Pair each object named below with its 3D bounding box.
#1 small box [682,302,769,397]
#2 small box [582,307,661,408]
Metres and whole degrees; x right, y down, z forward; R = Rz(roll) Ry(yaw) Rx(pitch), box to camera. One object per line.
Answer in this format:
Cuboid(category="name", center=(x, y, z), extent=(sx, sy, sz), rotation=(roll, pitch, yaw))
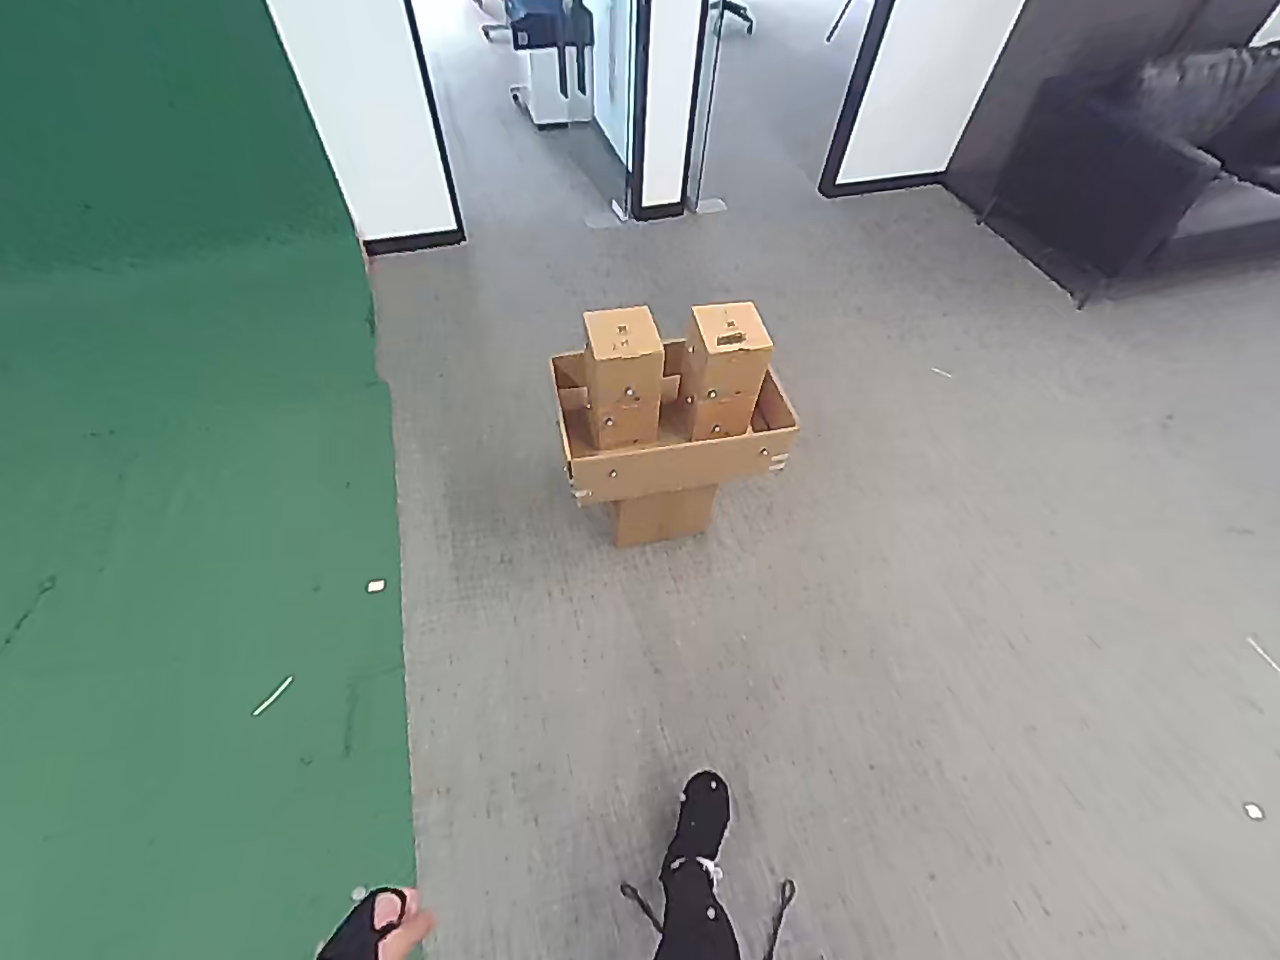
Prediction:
Cuboid(category="small box", center=(0.212, -0.327, 1.384), extent=(0.168, 0.176, 0.179), rotation=(-7, 55, -9))
Cuboid(category="small box", center=(-0.052, -0.304, 1.350), extent=(0.168, 0.176, 0.179), rotation=(-9, 55, -9))
